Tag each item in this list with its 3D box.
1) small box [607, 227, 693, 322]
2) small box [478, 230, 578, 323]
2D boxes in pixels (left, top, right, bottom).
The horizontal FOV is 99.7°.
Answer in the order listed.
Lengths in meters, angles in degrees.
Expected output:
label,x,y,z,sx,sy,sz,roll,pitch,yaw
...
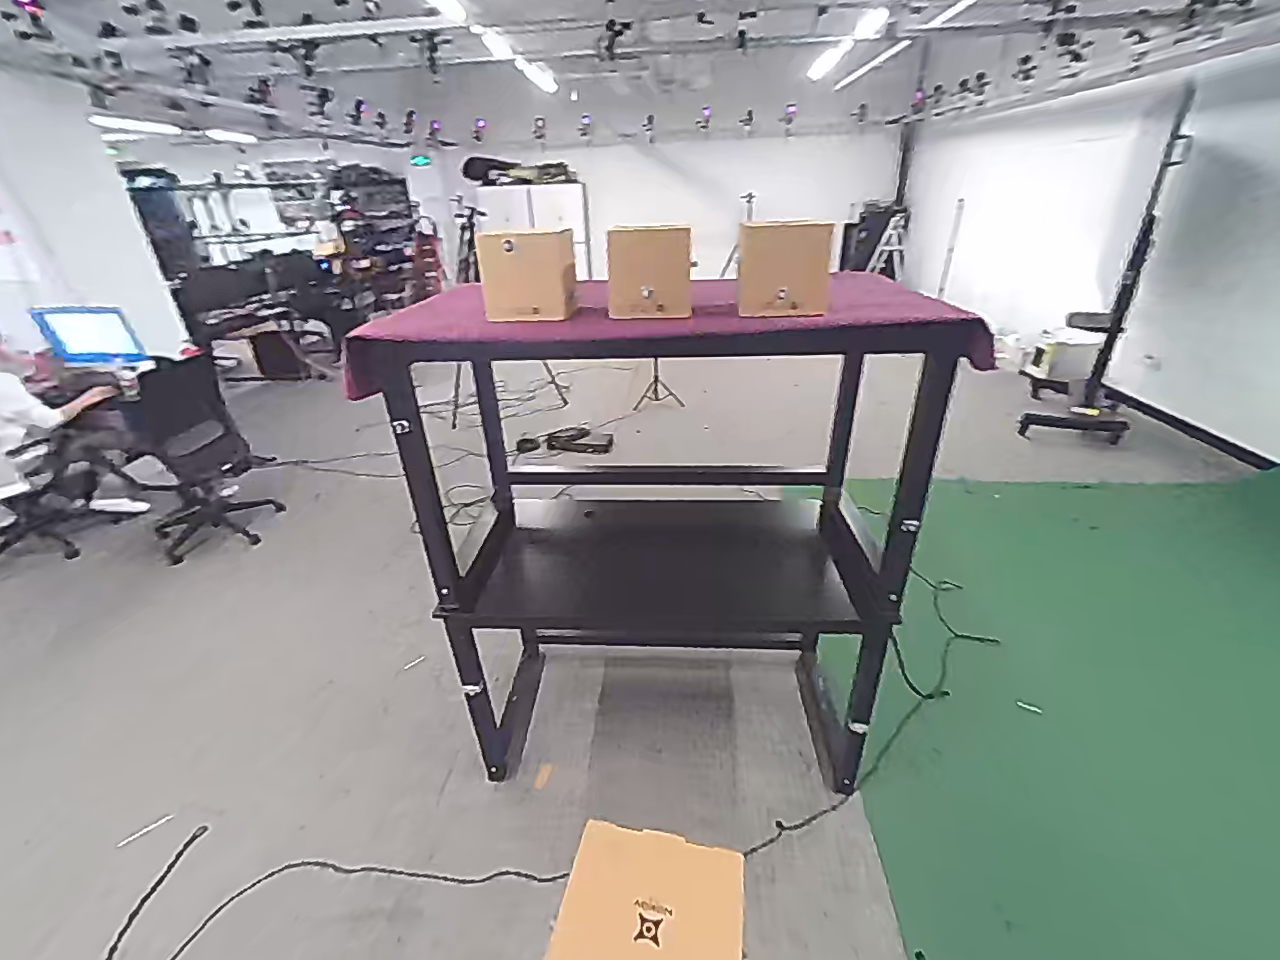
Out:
label,x,y,z,sx,sy,sz,roll,pitch,yaw
small box,0.027,-0.432,1.127,0.168,0.176,0.179,0,27,5
small box,-0.226,-0.434,1.144,0.168,0.176,0.179,0,26,4
